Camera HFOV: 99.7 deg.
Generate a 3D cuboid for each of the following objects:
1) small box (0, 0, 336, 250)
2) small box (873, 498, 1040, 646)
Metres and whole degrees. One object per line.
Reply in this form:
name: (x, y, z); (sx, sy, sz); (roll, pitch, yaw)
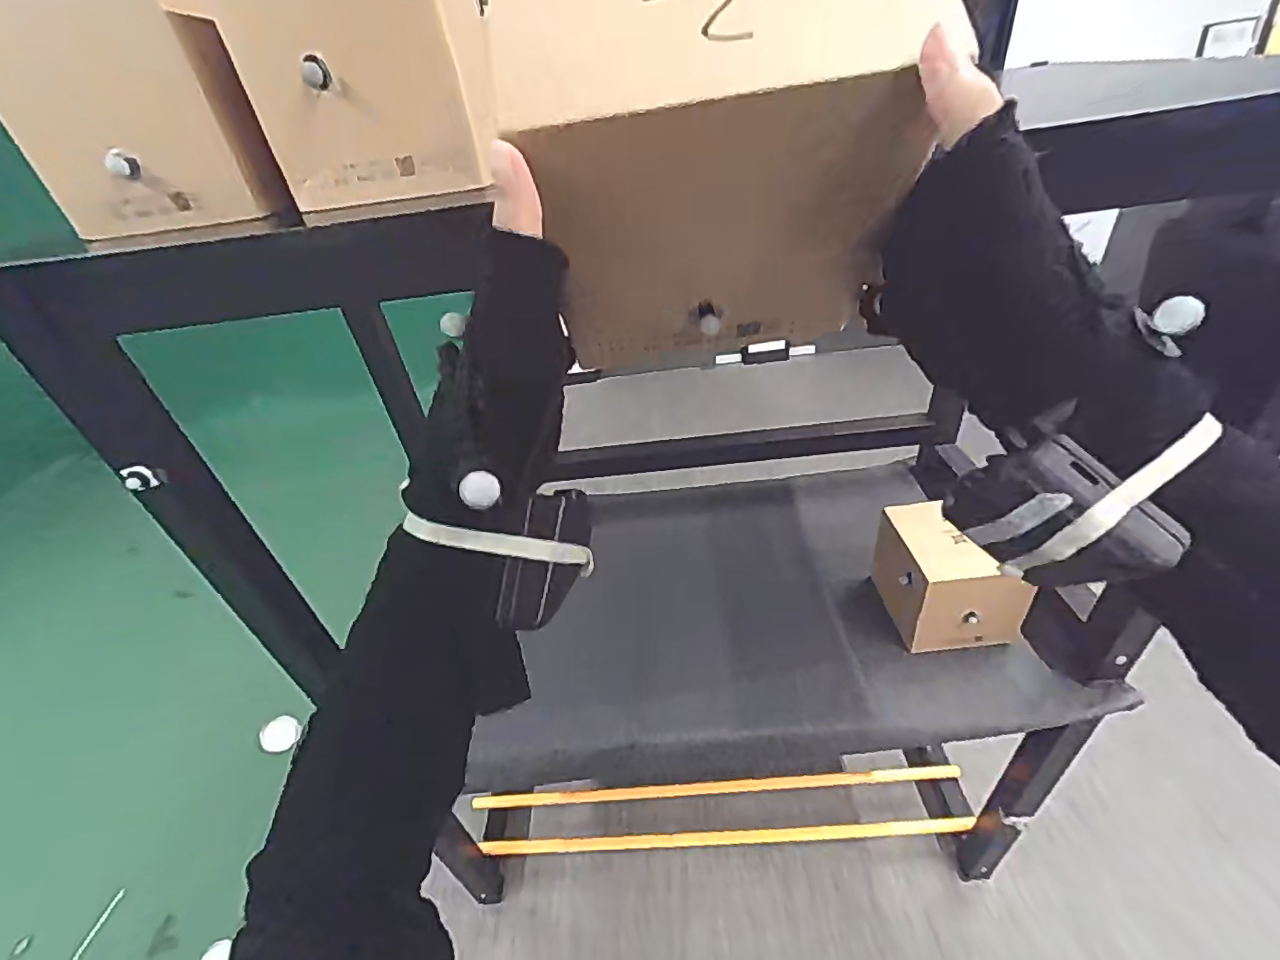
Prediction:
small box: (-0.415, -0.323, 0.496); (0.168, 0.176, 0.179); (-7, 37, 3)
small box: (0.503, 0.156, 0.891); (0.168, 0.176, 0.179); (-7, 35, 3)
